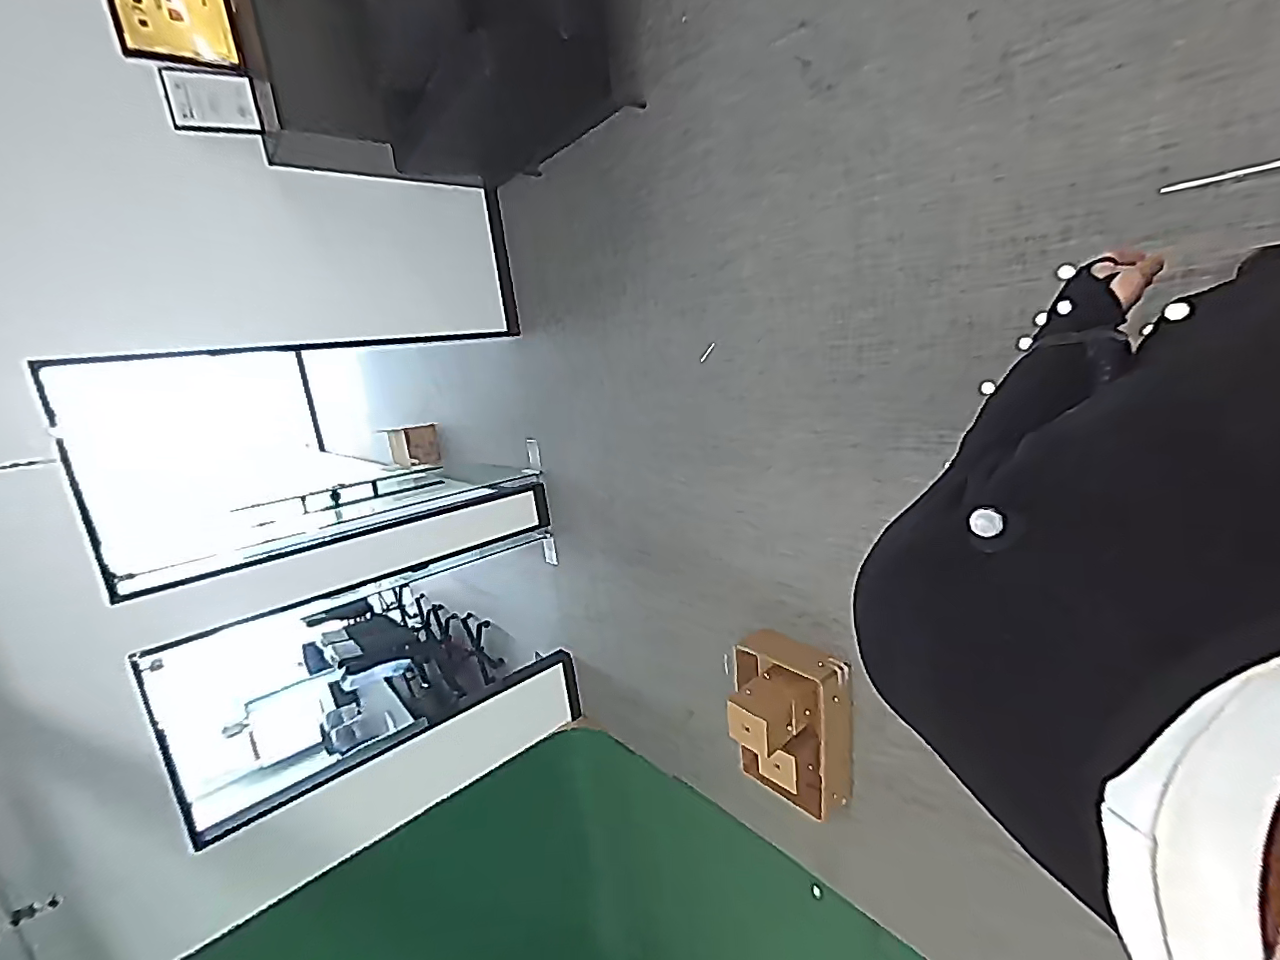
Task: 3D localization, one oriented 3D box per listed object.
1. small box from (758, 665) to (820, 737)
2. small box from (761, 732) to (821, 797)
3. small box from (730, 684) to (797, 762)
[{"bbox_3d":[0.576,0.839,2.073,0.179,0.176,0.168,8,109,49],"label":"small box"},{"bbox_3d":[0.598,1.093,2.128,0.179,0.176,0.168,7,107,48],"label":"small box"},{"bbox_3d":[0.451,0.876,1.973,0.179,0.176,0.168,11,113,47],"label":"small box"}]
